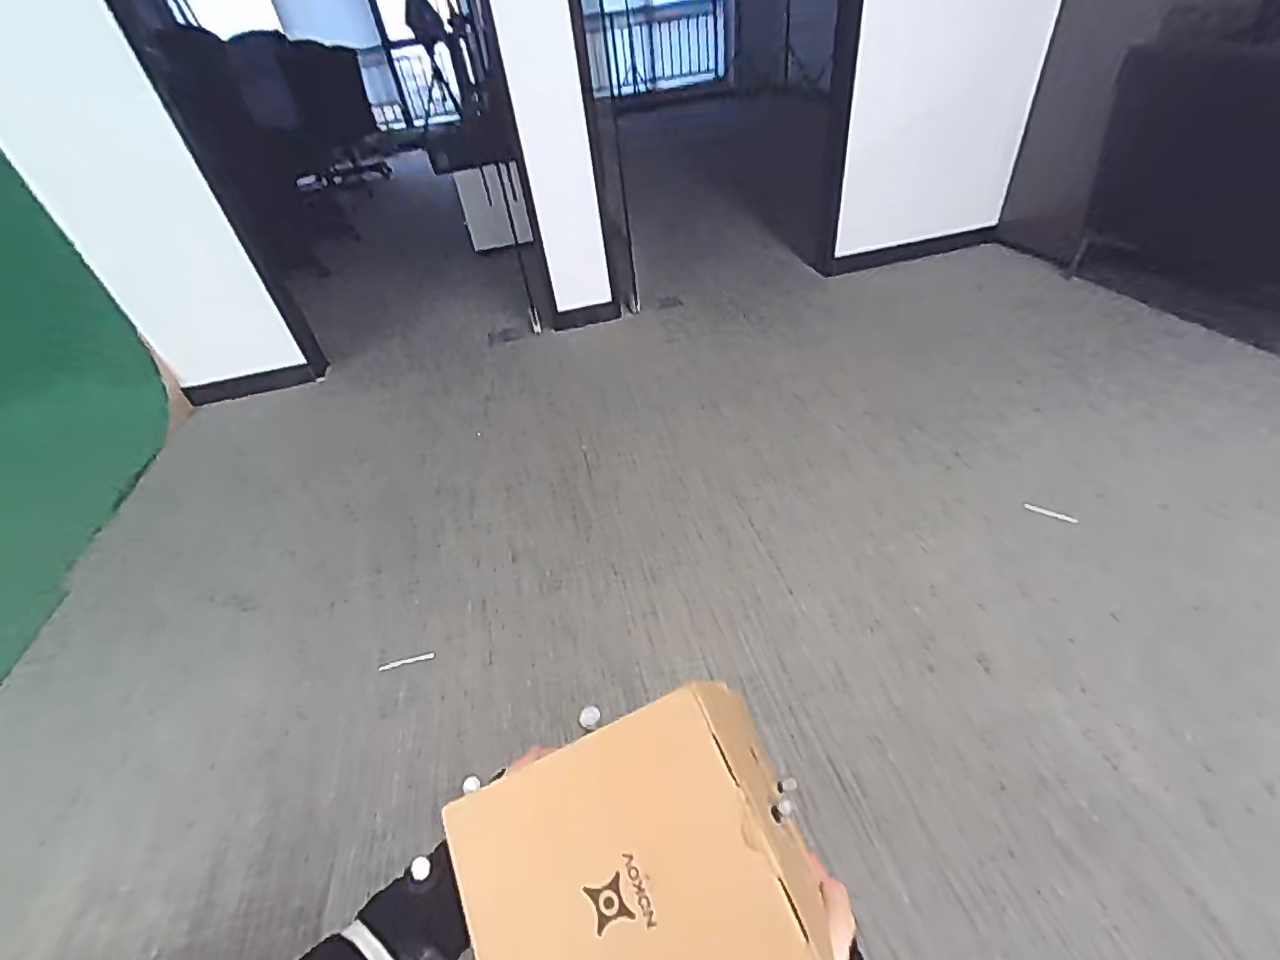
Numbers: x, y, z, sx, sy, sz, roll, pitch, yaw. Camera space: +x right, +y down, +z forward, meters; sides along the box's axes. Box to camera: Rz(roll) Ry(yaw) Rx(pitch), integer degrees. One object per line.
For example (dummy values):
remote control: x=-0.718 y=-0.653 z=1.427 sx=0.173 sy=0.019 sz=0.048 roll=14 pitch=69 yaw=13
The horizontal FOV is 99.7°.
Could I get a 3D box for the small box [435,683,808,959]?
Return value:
small box: x=0.001 y=0.252 z=0.364 sx=0.179 sy=0.176 sz=0.168 roll=-27 pitch=66 yaw=3
